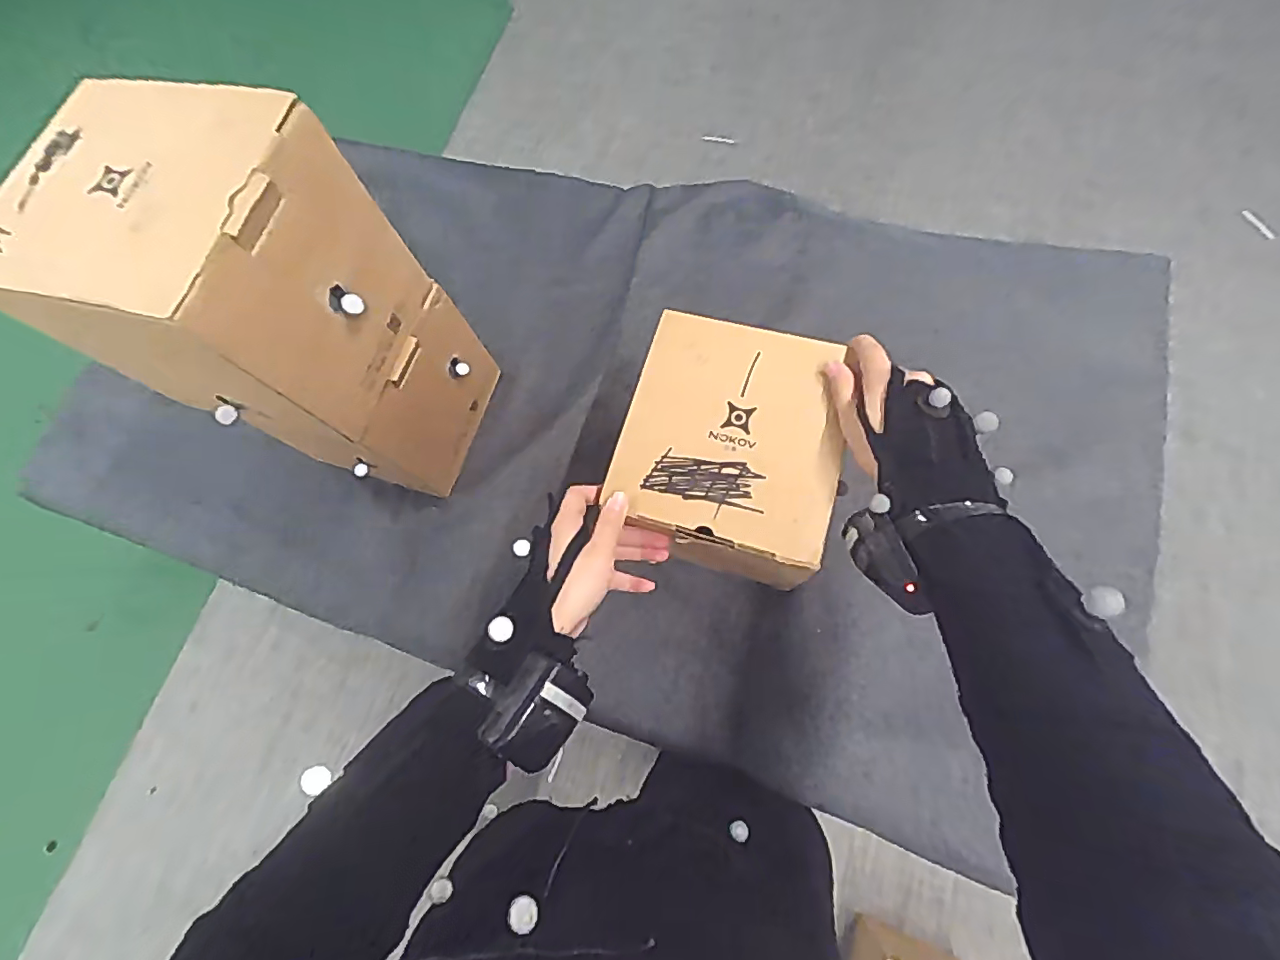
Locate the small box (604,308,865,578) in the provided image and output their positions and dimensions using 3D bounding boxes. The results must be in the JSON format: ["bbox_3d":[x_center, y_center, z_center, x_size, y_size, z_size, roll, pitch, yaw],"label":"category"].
[{"bbox_3d":[0.083,-0.021,0.489,0.168,0.176,0.179,15,74,11],"label":"small box"}]

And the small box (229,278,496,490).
[{"bbox_3d":[-0.276,-0.102,0.560,0.179,0.176,0.168,15,72,12],"label":"small box"}]

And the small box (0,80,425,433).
[{"bbox_3d":[-0.295,-0.150,0.404,0.179,0.176,0.168,12,72,10],"label":"small box"}]

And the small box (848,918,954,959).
[{"bbox_3d":[0.459,0.891,0.911,0.179,0.176,0.168,16,73,12],"label":"small box"}]
